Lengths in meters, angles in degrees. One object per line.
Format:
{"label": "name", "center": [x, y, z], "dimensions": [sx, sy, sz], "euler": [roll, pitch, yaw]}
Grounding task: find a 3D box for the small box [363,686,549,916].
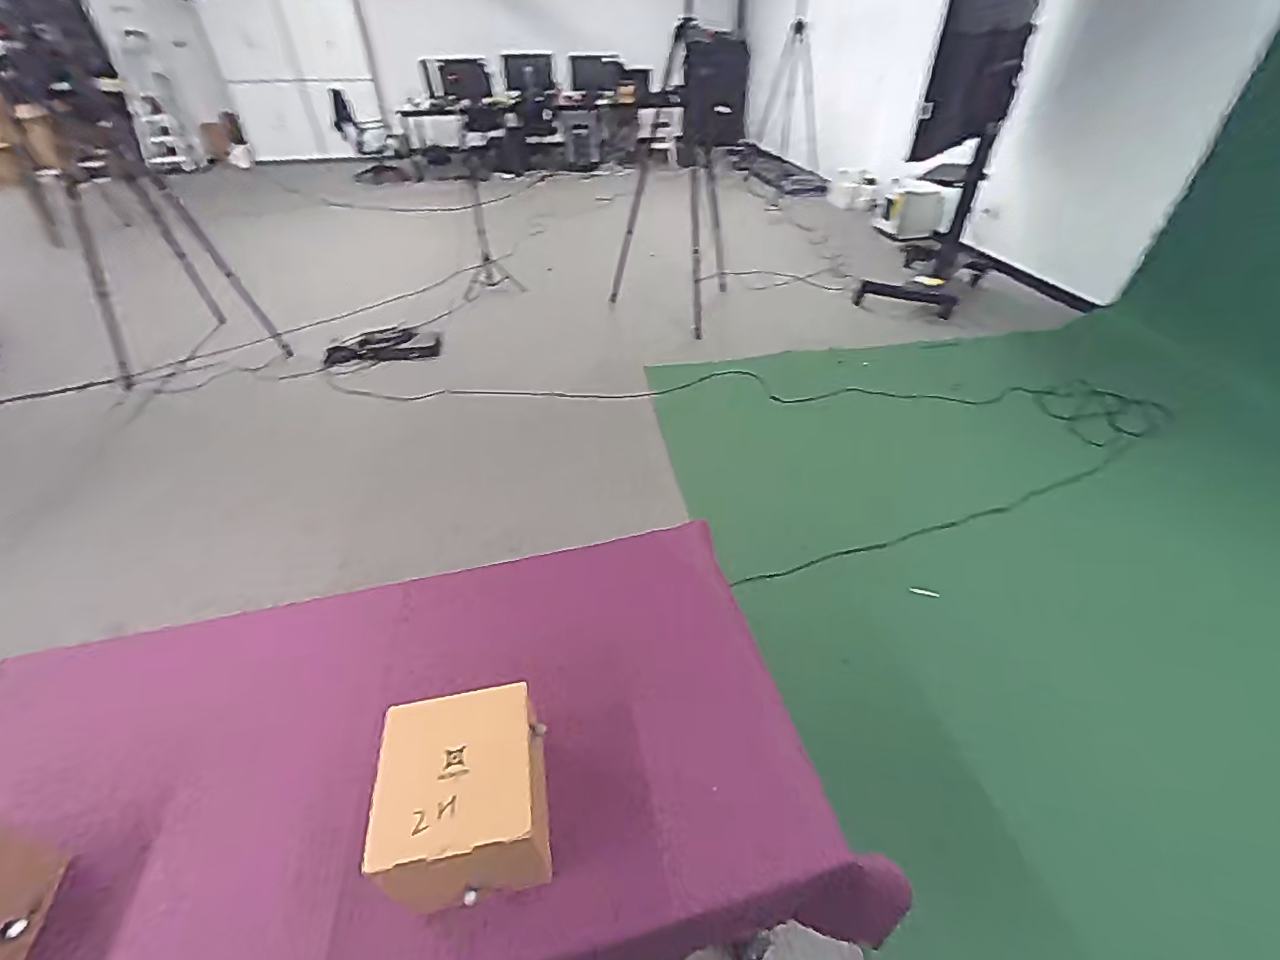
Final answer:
{"label": "small box", "center": [-0.205, 0.382, 0.649], "dimensions": [0.168, 0.176, 0.179], "euler": [-8, 41, -8]}
